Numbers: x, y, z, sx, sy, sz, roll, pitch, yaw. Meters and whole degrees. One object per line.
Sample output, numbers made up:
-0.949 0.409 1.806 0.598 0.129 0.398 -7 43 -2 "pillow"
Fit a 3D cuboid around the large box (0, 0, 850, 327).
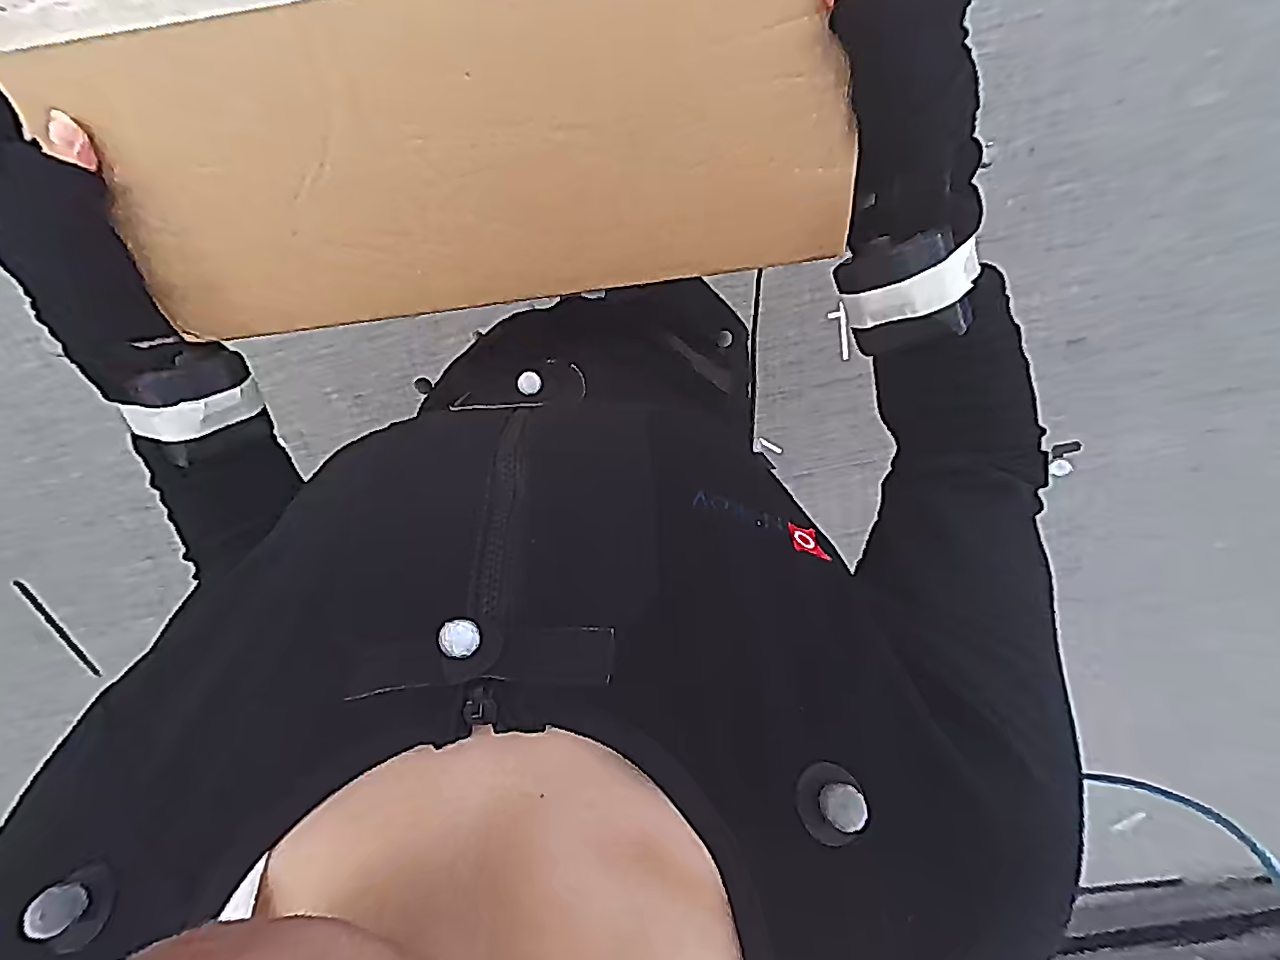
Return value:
-0.107 -0.332 0.345 0.408 0.320 0.320 -6 130 3 "large box"
